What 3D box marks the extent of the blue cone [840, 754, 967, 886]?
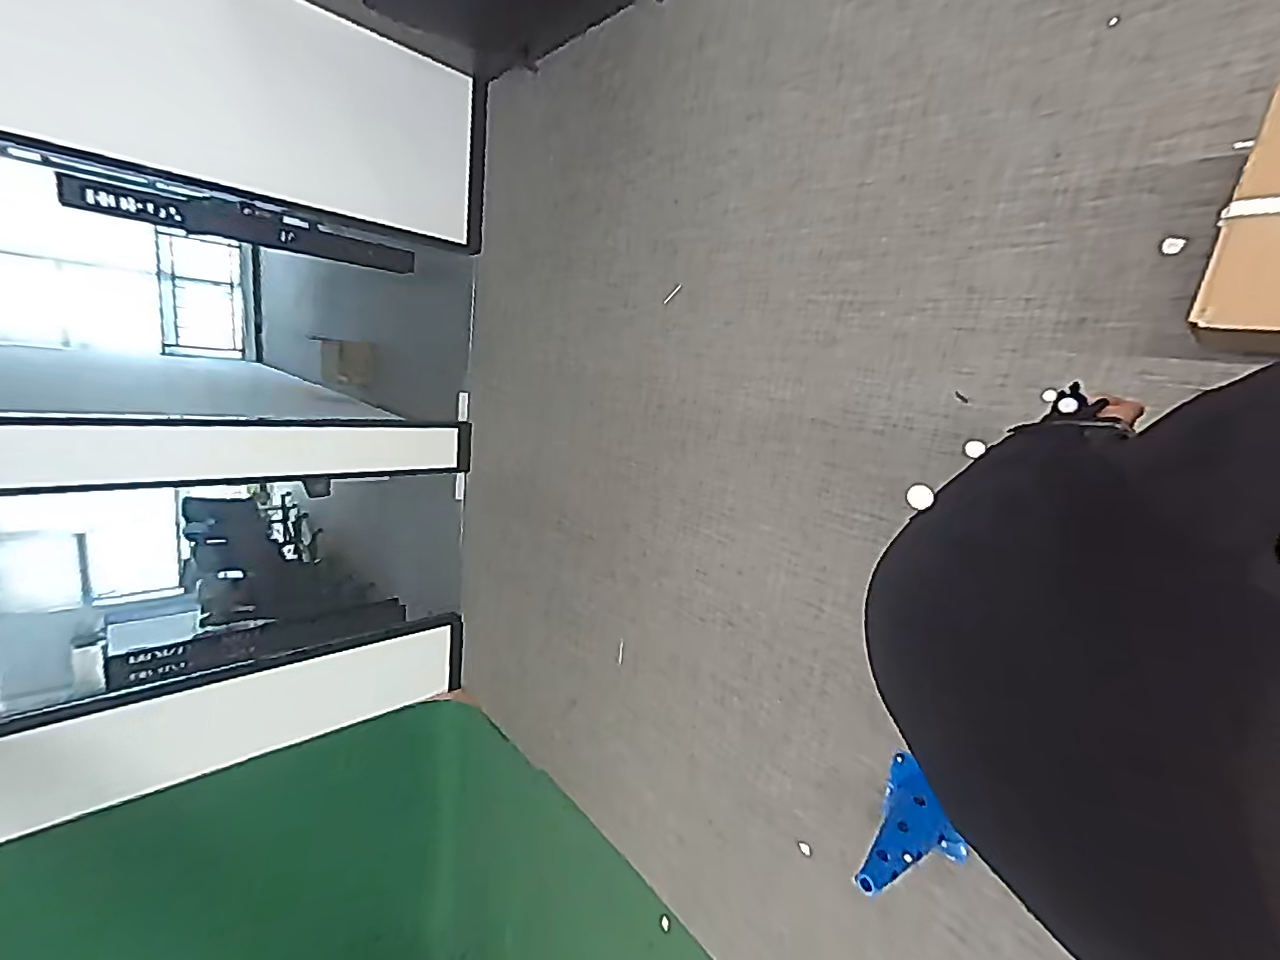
[{"bbox_3d":[0.576,0.814,1.234,0.192,0.380,0.193,20,107,46],"label":"blue cone"}]
